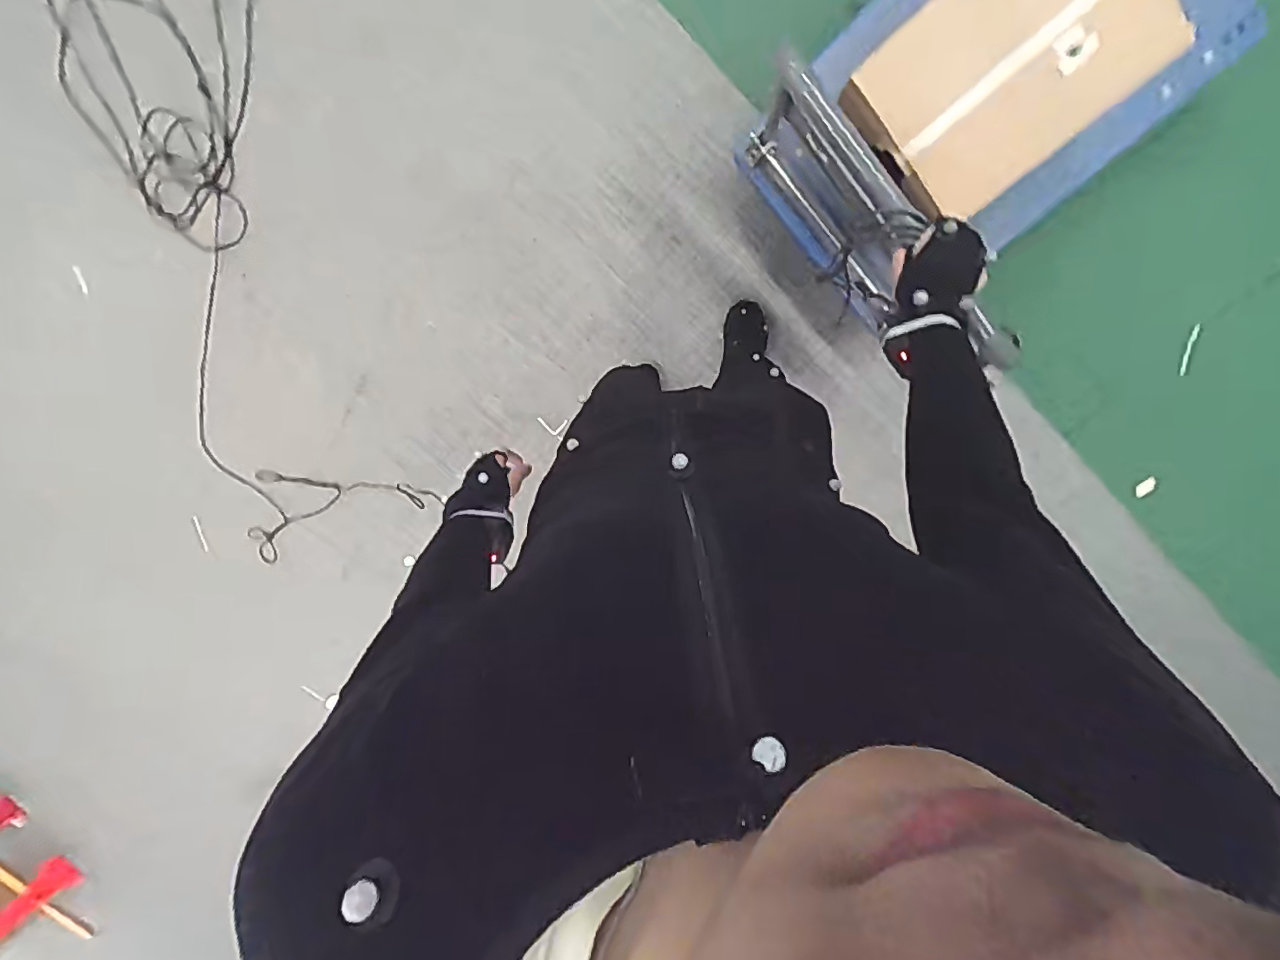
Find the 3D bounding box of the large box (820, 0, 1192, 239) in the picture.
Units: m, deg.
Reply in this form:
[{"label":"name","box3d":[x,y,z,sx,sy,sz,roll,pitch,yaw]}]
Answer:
[{"label":"large box","box3d":[0.609,-0.716,0.988,0.408,0.320,0.320,-37,102,16]}]
